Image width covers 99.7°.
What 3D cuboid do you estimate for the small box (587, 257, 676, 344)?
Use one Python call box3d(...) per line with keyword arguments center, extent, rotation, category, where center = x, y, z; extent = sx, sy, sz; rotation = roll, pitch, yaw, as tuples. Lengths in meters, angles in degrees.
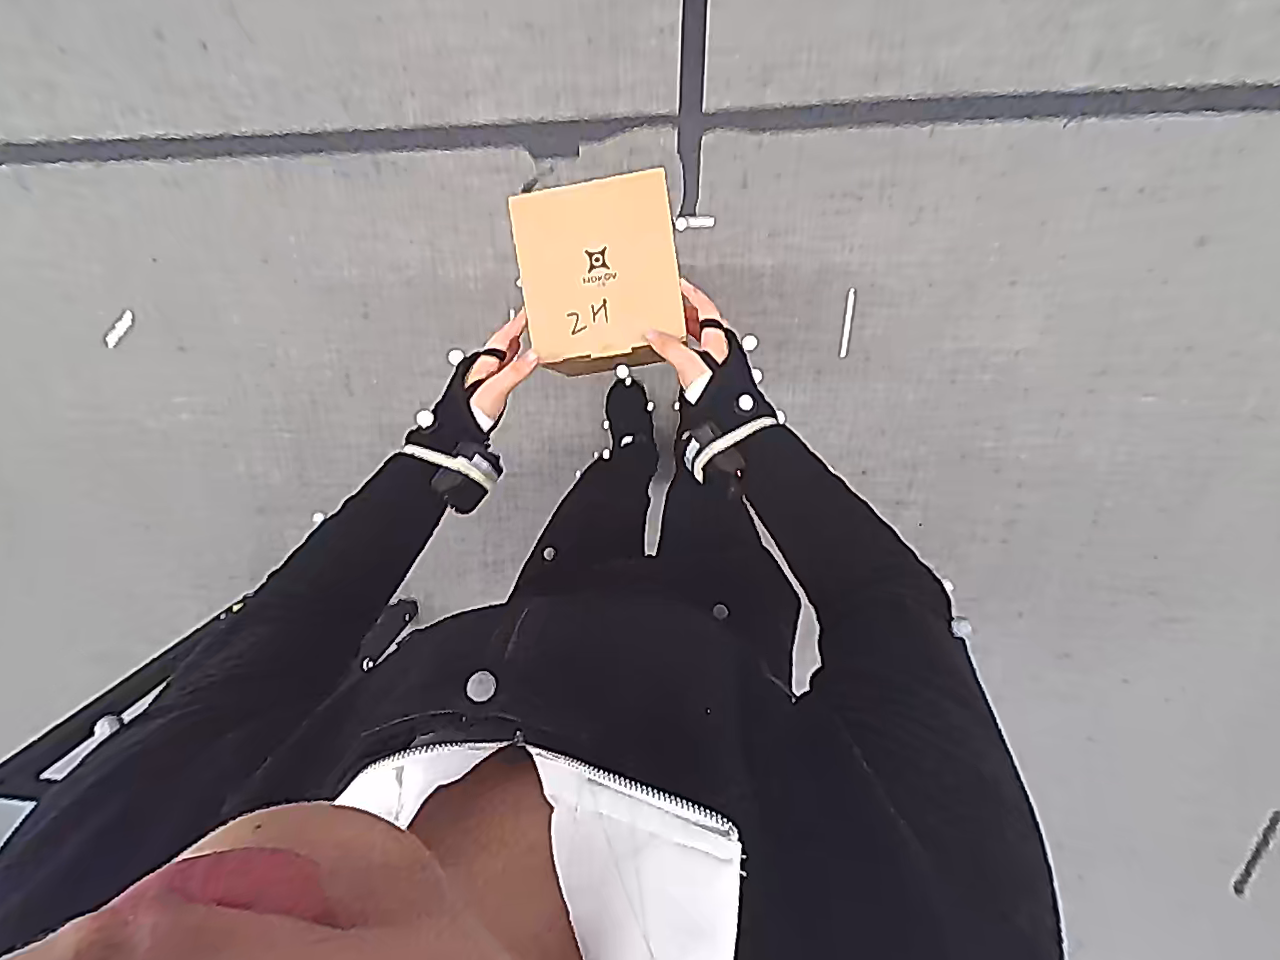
box3d(center=(-0.015, -0.402, 1.208), extent=(0.179, 0.176, 0.168), rotation=(5, 111, 3), category="small box")
